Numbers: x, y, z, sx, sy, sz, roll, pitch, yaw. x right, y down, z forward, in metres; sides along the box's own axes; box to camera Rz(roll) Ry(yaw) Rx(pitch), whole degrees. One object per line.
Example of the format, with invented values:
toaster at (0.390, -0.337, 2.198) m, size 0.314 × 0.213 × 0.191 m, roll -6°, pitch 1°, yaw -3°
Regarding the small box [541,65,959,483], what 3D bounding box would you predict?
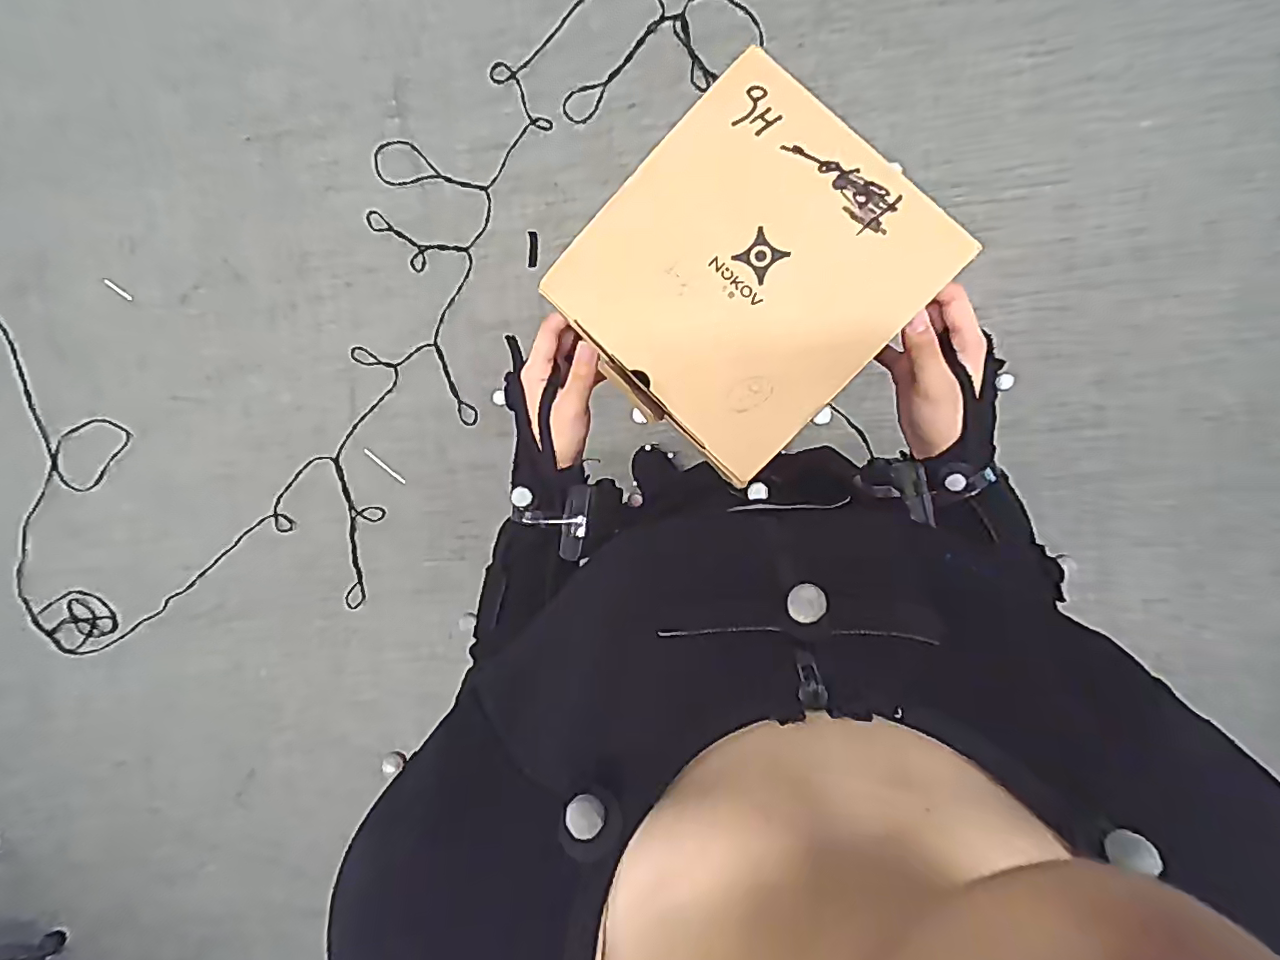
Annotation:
small box at (0.067, -0.115, 0.381) m, size 0.168 × 0.176 × 0.179 m, roll 45°, pitch 97°, yaw 4°
